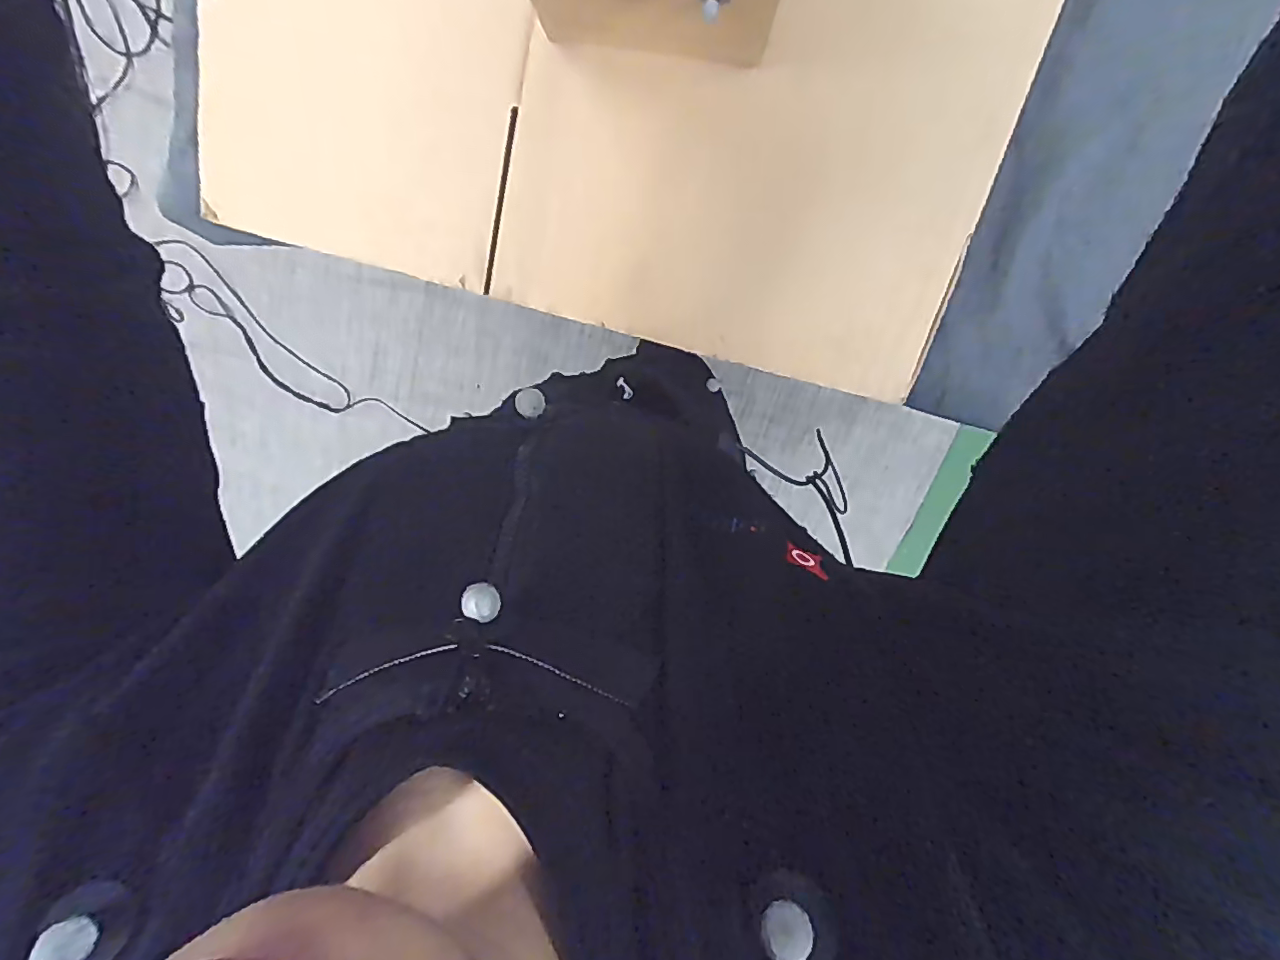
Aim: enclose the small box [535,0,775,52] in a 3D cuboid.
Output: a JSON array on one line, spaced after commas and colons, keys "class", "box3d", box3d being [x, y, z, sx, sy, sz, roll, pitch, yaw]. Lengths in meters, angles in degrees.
[{"class": "small box", "box3d": [0.016, -0.395, 0.324, 0.179, 0.176, 0.168, 8, 106, 2]}]
